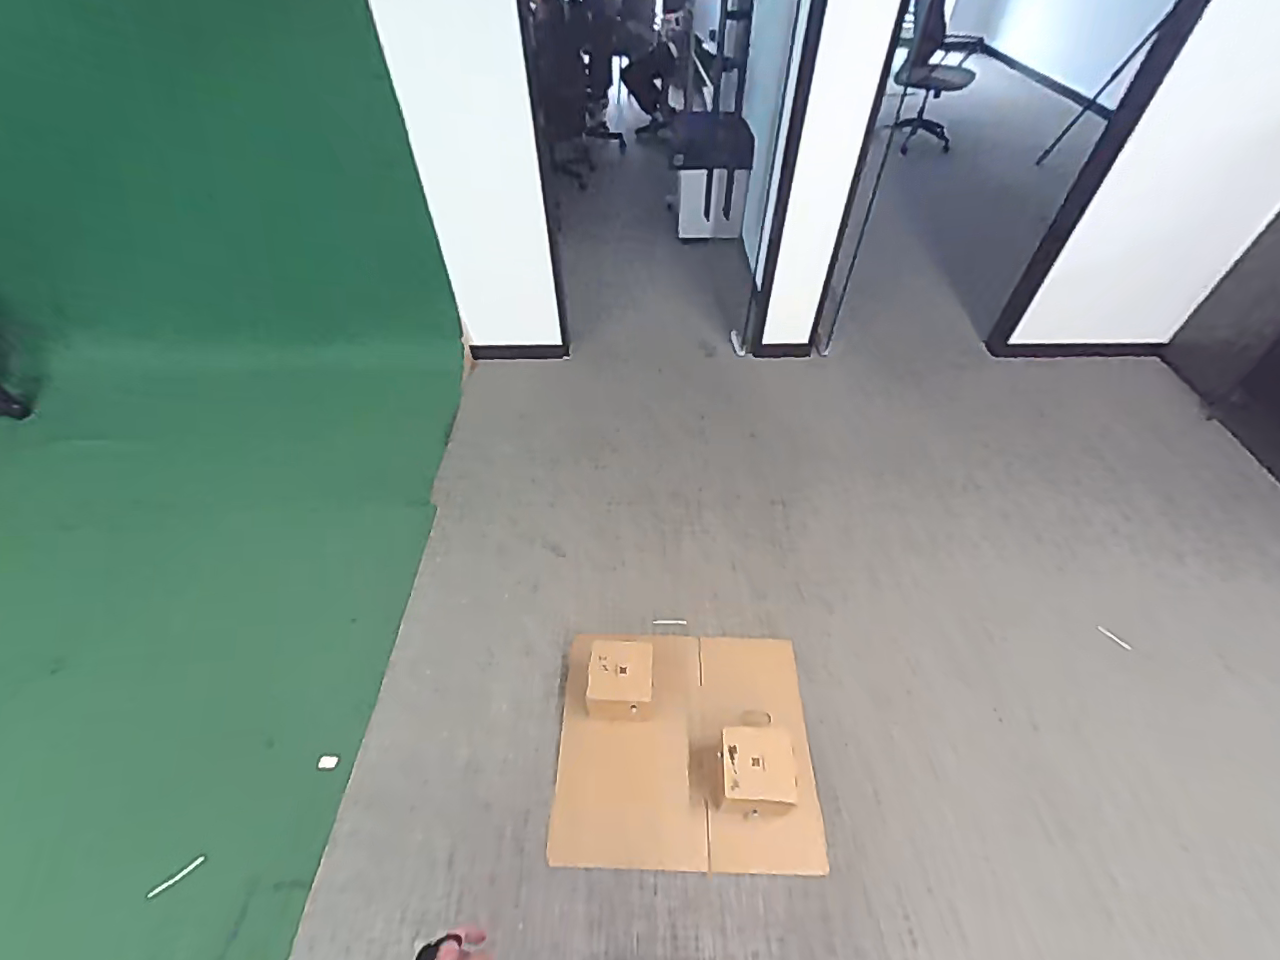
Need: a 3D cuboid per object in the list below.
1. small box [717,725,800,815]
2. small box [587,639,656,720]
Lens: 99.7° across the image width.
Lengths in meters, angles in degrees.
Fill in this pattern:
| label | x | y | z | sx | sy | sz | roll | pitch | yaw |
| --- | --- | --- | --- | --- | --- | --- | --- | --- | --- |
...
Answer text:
| label | x | y | z | sx | sy | sz | roll | pitch | yaw |
| --- | --- | --- | --- | --- | --- | --- | --- | --- | --- |
| small box | 0.295 | 0.745 | 1.382 | 0.179 | 0.176 | 0.168 | 3 | 49 | 3 |
| small box | -0.048 | 0.568 | 1.532 | 0.179 | 0.176 | 0.168 | 2 | 49 | 2 |
